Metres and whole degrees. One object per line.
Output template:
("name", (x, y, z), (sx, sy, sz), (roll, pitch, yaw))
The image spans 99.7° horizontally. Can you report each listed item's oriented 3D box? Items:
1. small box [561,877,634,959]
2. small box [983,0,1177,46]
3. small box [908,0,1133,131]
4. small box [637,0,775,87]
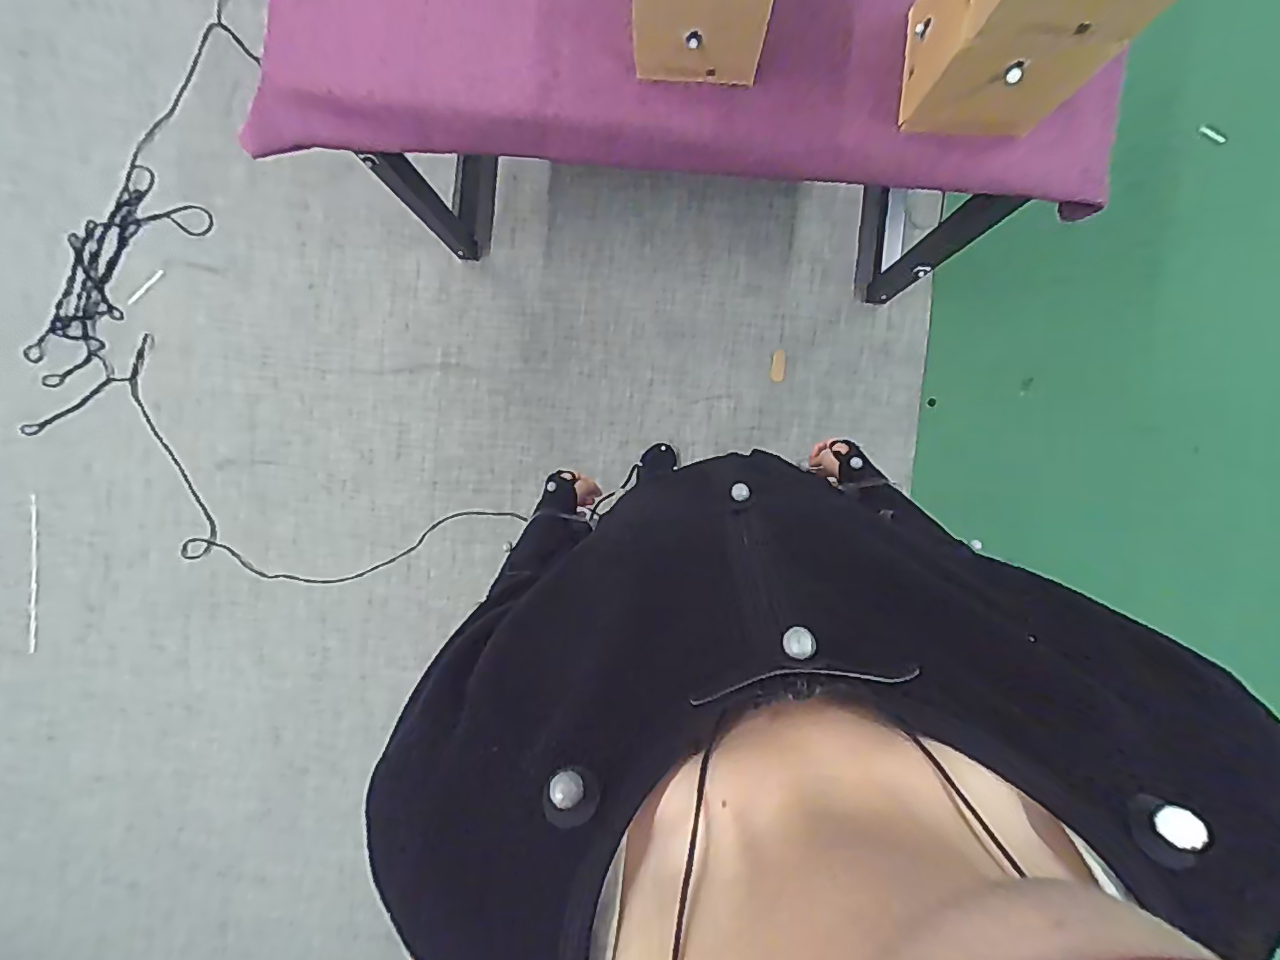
("small box", (-0.107, 1.196, 1.435), (0.179, 0.176, 0.168), (0, 90, 5))
("small box", (0.452, -0.559, 0.504), (0.168, 0.176, 0.179), (5, 92, 5))
("small box", (0.461, -0.562, 0.668), (0.179, 0.176, 0.168), (4, 93, 5))
("small box", (0.089, -0.643, 0.688), (0.168, 0.176, 0.179), (6, 91, 3))
